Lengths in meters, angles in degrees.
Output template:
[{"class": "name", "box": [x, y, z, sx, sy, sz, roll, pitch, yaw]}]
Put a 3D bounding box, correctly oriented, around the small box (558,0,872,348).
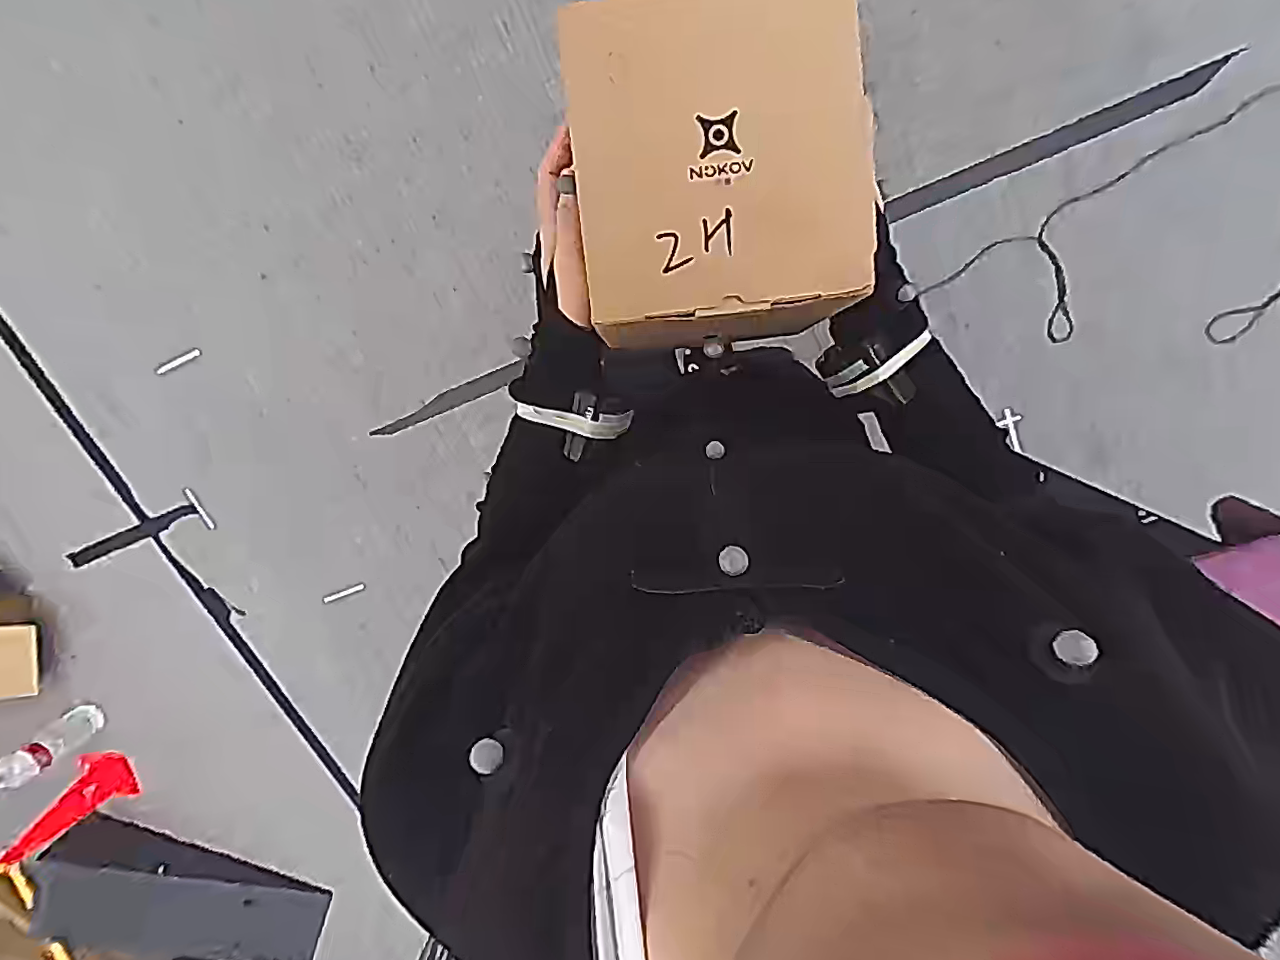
[{"class": "small box", "box": [0.045, -0.199, 0.380, 0.168, 0.176, 0.179, -6, 97, 3]}]
